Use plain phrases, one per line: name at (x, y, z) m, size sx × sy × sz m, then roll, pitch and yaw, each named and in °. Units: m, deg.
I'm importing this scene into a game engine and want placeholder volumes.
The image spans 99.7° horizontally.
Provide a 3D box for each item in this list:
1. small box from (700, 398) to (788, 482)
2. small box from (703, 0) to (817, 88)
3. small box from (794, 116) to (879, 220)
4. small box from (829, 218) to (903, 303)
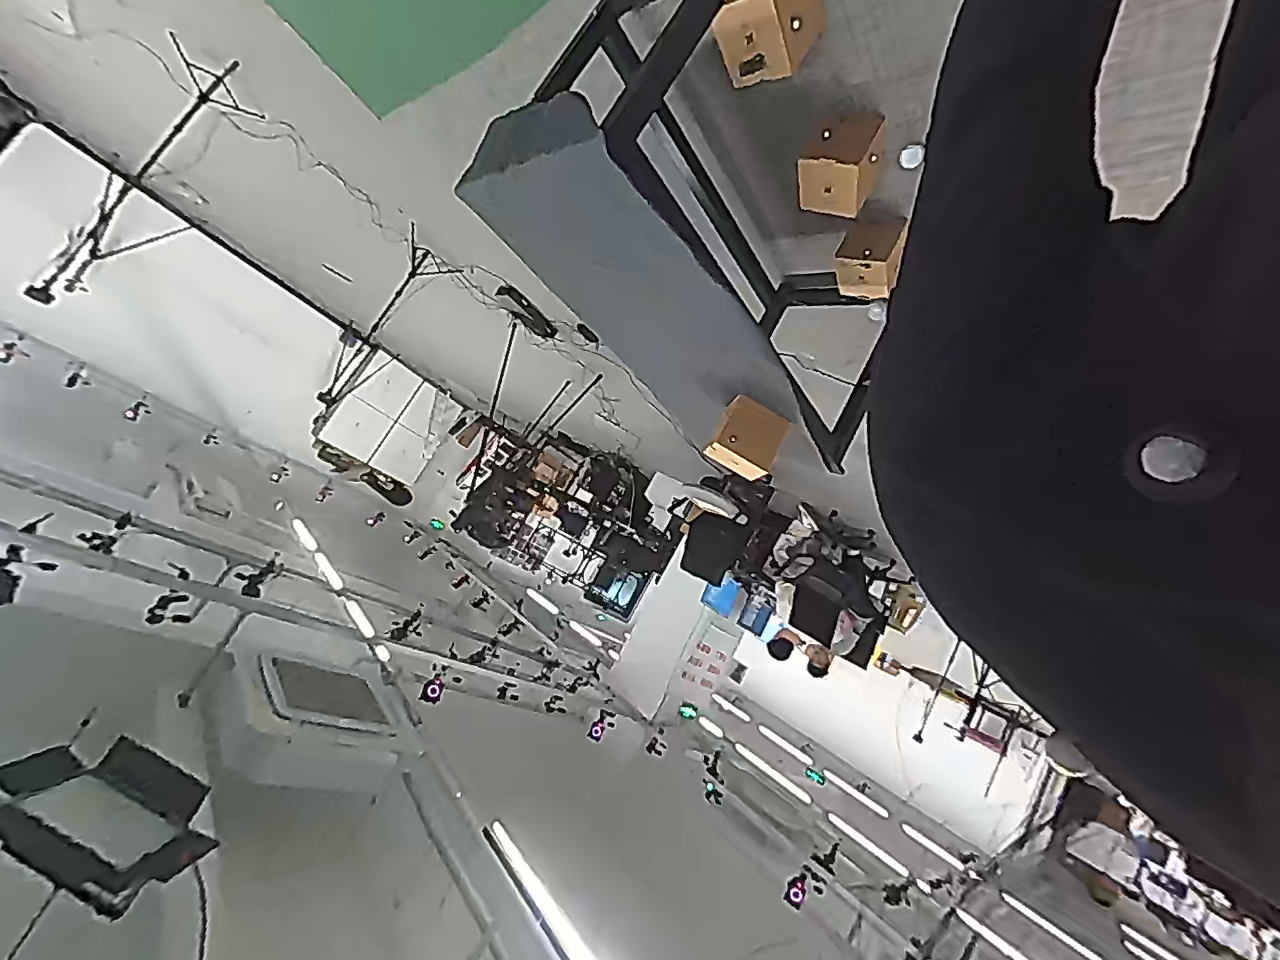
small box at (0.304, -0.115, 1.587) m, size 0.179 × 0.176 × 0.168 m, roll 30°, pitch 170°, yaw -1°
small box at (0.279, -1.048, 1.228) m, size 0.168 × 0.176 × 0.179 m, roll 20°, pitch 166°, yaw 40°
small box at (0.536, -0.854, 1.477) m, size 0.168 × 0.176 × 0.179 m, roll 25°, pitch 171°, yaw 26°
small box at (0.725, -0.699, 1.723) m, size 0.168 × 0.176 × 0.179 m, roll 22°, pitch 169°, yaw 34°
